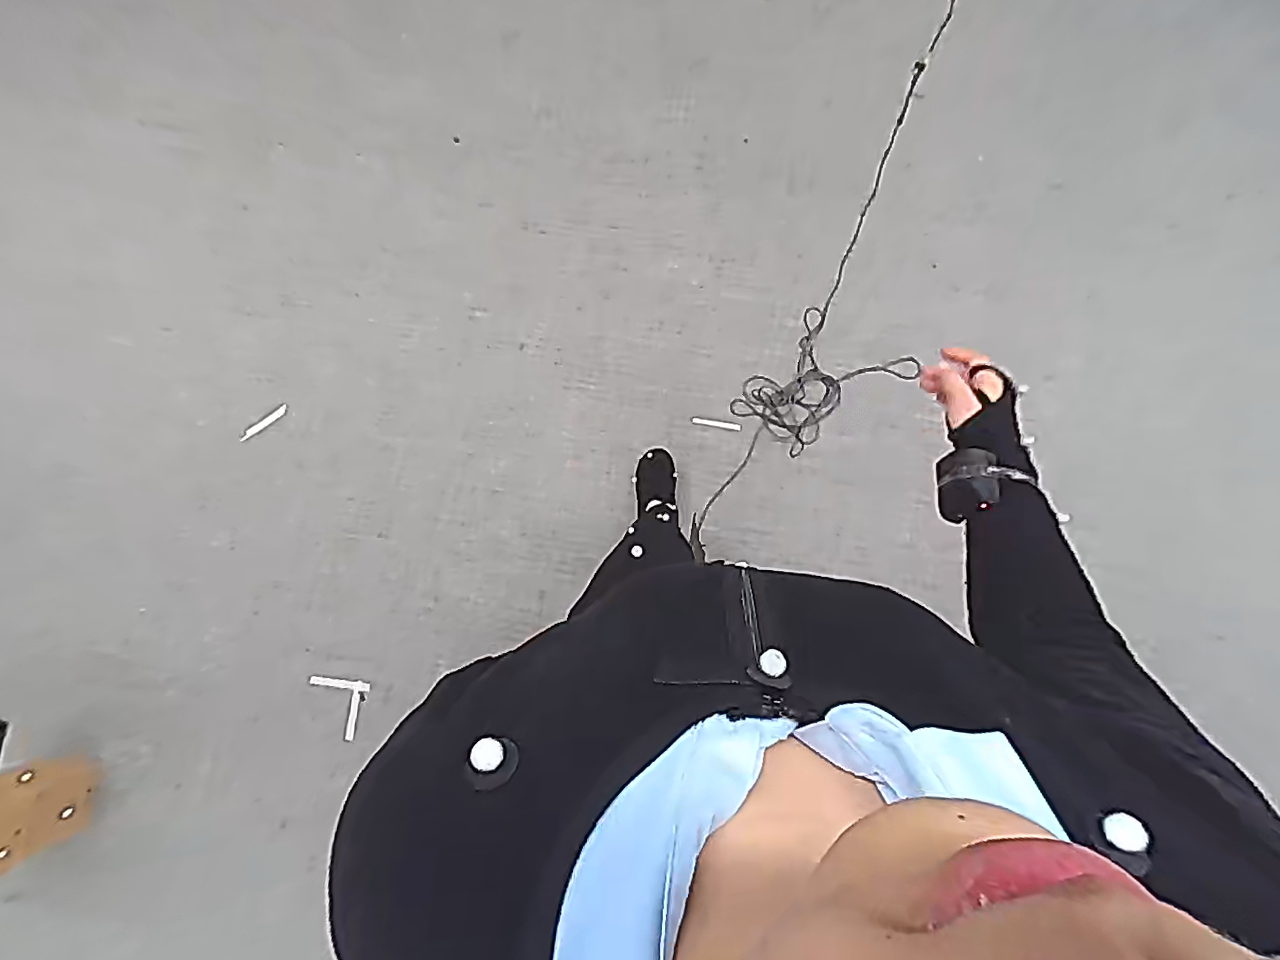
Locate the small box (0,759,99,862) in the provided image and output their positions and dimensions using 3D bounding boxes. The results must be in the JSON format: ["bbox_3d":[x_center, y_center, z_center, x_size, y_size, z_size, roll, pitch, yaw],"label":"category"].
[{"bbox_3d":[-1.588,0.853,1.411,0.179,0.176,0.168,7,84,3],"label":"small box"}]
